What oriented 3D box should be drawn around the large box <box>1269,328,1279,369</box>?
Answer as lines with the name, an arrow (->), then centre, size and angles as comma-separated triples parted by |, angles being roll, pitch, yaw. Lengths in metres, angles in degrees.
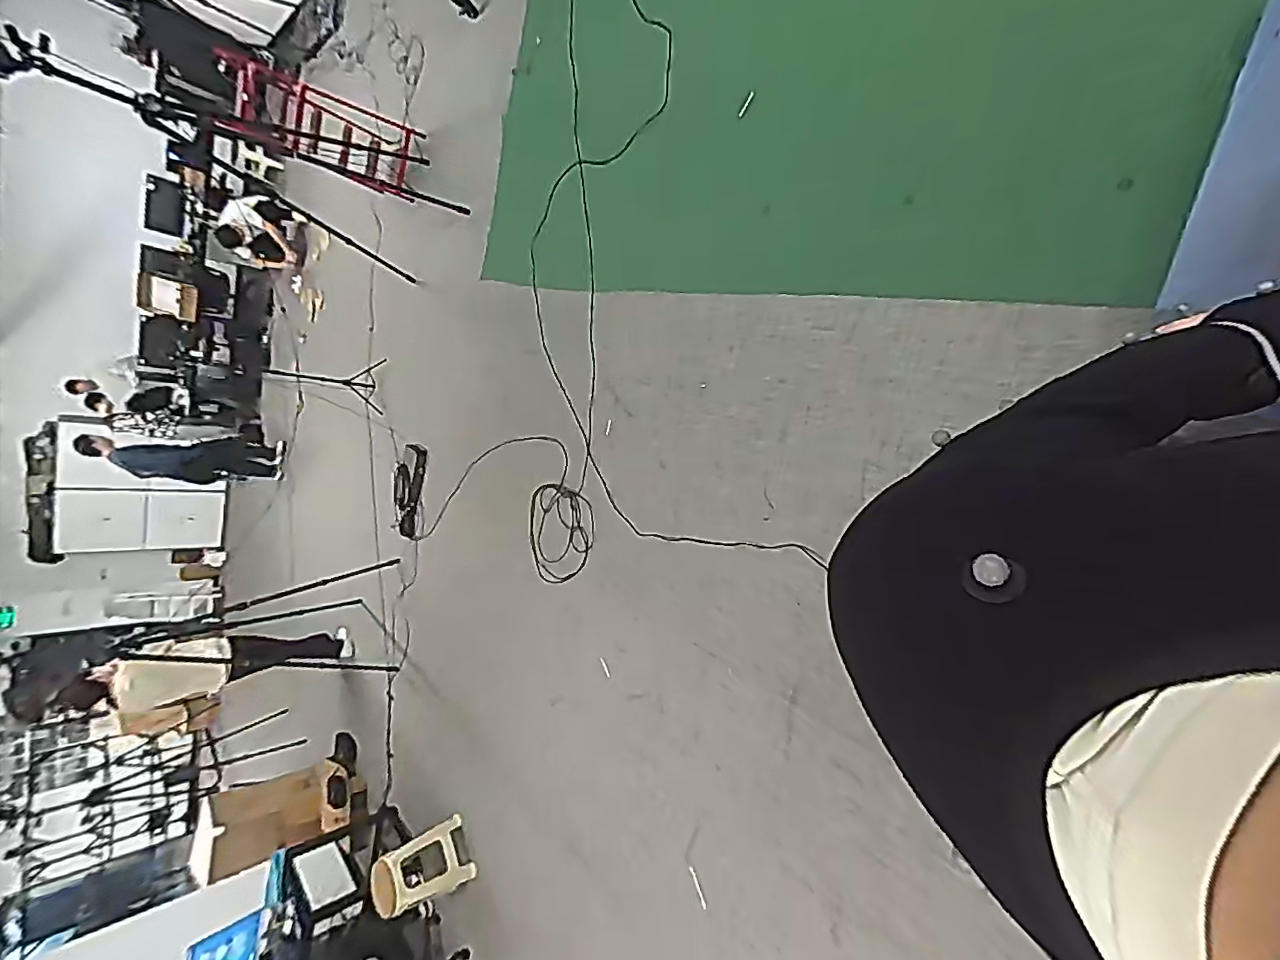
large box -> 1.181, -0.364, 0.746 | 0.320, 0.320, 0.408 | 21, 101, 41
